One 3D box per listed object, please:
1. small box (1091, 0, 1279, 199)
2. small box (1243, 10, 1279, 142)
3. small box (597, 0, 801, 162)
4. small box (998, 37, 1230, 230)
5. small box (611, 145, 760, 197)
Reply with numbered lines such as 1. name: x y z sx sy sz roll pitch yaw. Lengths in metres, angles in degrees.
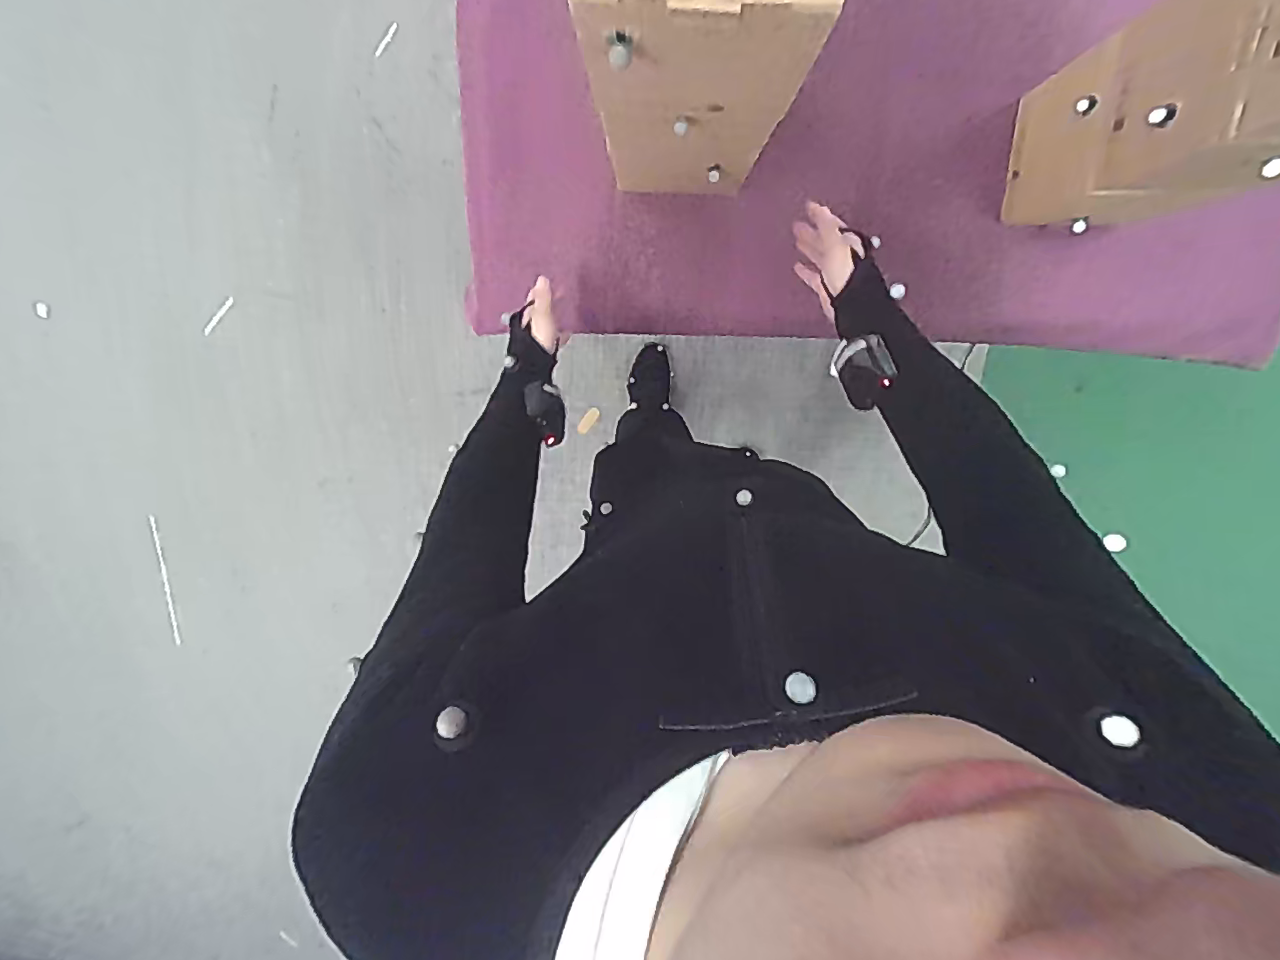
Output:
1. small box: 0.605 -0.388 0.534 0.179 0.176 0.168 3 105 1
2. small box: 0.604 -0.350 0.374 0.179 0.176 0.168 2 105 1
3. small box: 0.053 -0.434 0.538 0.179 0.176 0.168 3 105 1
4. small box: 0.609 -0.427 0.693 0.179 0.176 0.168 1 104 1
5. small box: 0.057 -0.476 0.694 0.179 0.176 0.168 3 104 1
